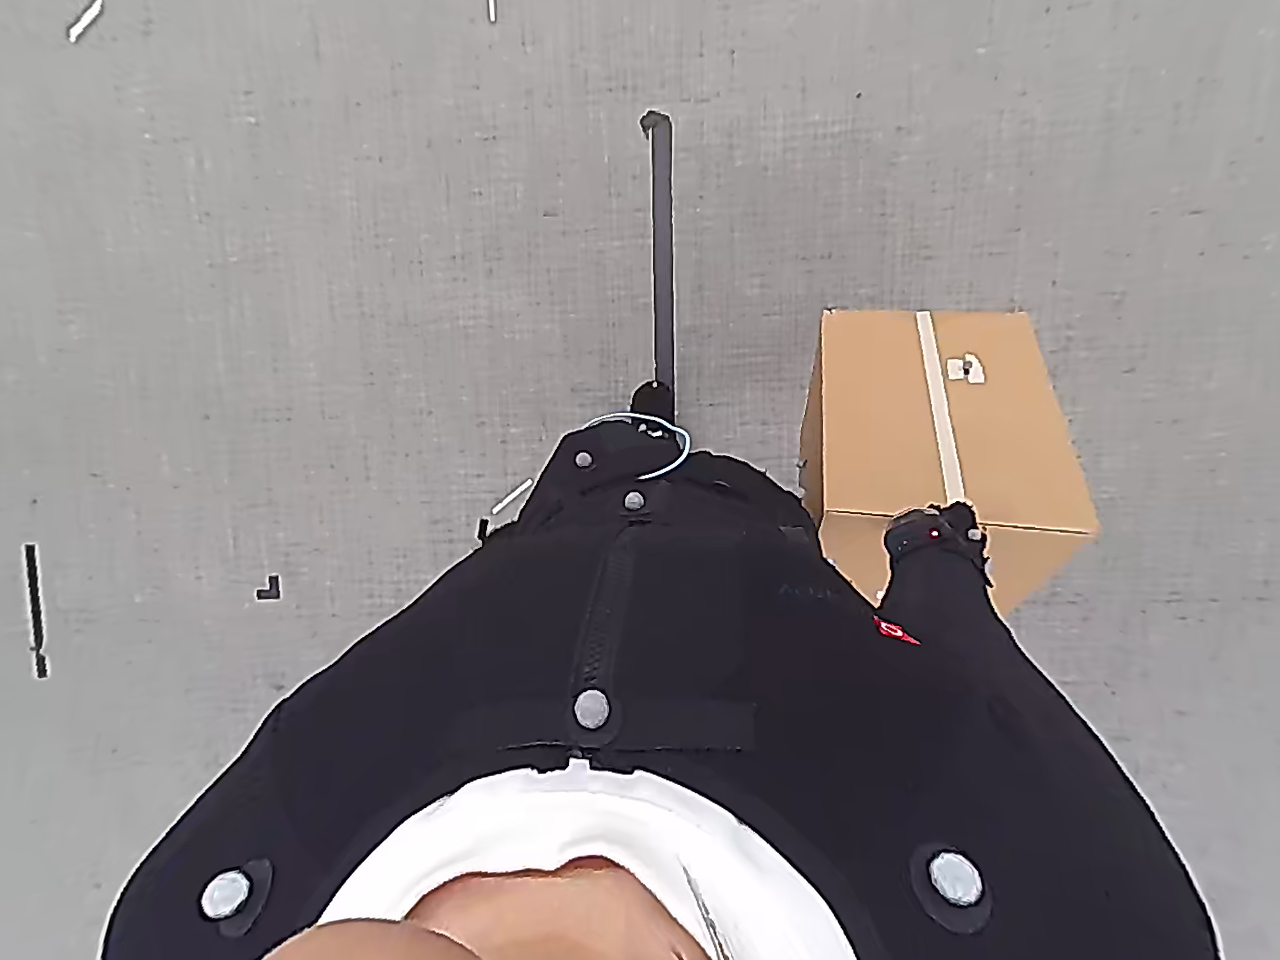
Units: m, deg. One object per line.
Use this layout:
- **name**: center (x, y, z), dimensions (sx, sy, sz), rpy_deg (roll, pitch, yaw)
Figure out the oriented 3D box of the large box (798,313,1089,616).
- **large box**: center (0.441, -0.025, 0.909), dimensions (0.320, 0.320, 0.408), rpy_deg (5, 54, 10)
